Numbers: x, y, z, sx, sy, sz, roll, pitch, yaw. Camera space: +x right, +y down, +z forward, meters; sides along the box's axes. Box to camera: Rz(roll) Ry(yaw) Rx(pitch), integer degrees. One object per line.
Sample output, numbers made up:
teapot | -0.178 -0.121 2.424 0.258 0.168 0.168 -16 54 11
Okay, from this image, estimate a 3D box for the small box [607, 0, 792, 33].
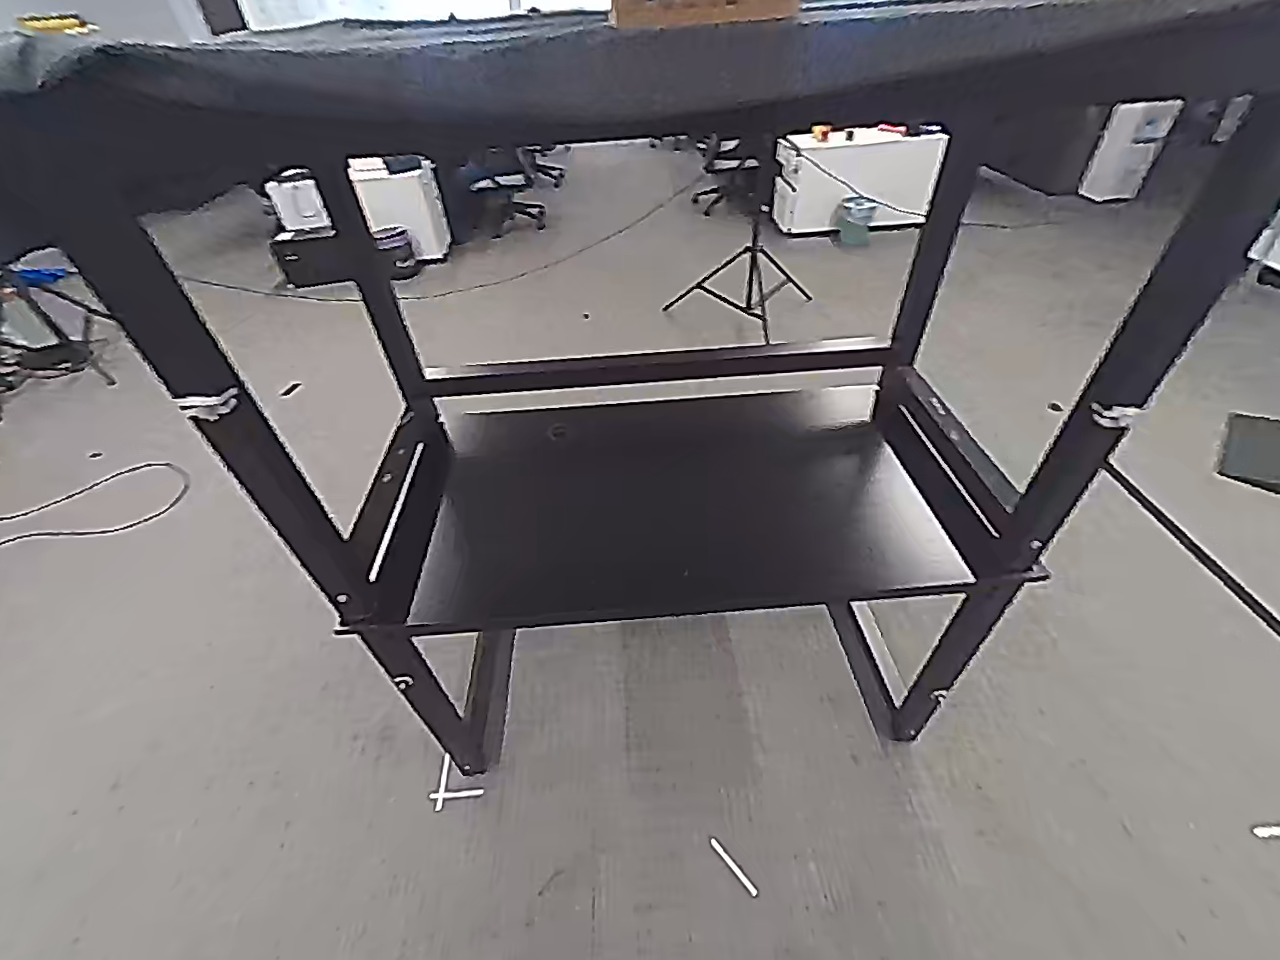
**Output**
small box | 0.047 -0.522 0.490 0.168 0.176 0.179 -5 41 -1
